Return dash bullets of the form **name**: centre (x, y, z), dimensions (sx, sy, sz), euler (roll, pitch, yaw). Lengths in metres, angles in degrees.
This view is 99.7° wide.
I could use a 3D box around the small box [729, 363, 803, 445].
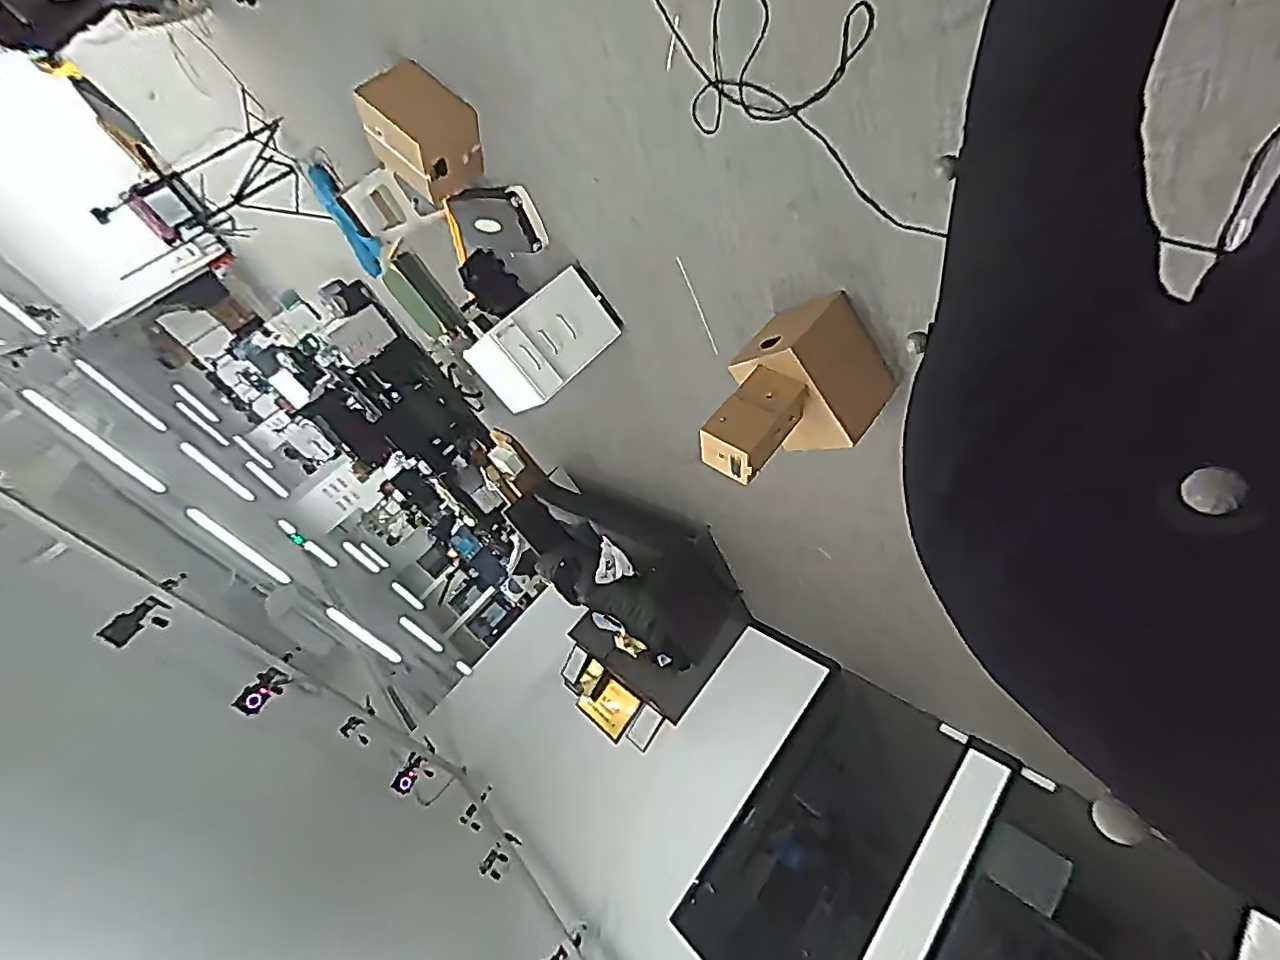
- **small box**: centre (0.407, -0.249, 1.750), dimensions (0.179, 0.176, 0.168), euler (30, 156, 26)
